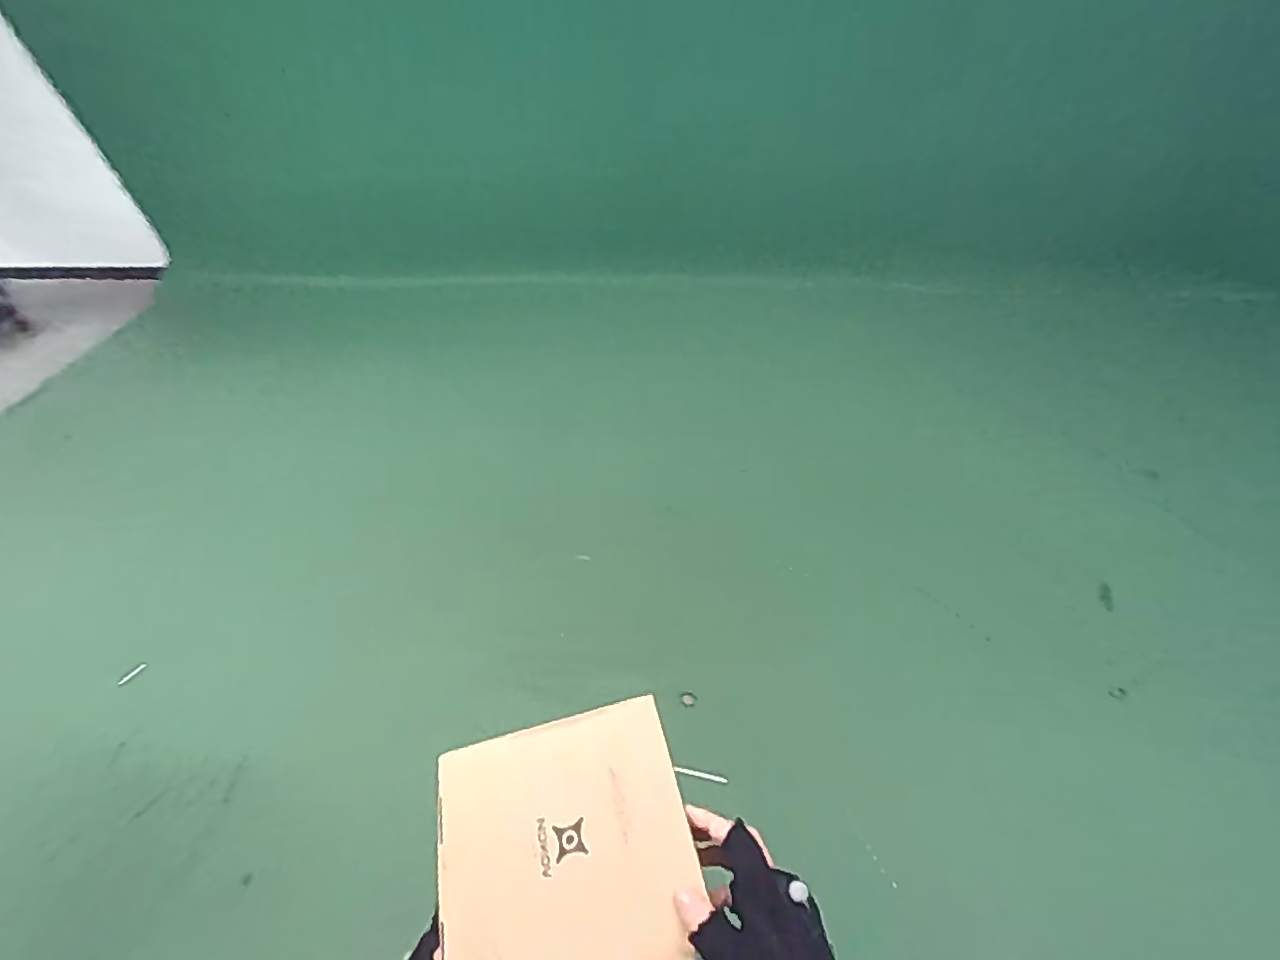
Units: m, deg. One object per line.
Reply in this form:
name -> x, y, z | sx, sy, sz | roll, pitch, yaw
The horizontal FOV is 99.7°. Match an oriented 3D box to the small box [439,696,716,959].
small box -> -0.047, 0.307, 0.439 | 0.179, 0.176, 0.168 | -14, 49, -7
